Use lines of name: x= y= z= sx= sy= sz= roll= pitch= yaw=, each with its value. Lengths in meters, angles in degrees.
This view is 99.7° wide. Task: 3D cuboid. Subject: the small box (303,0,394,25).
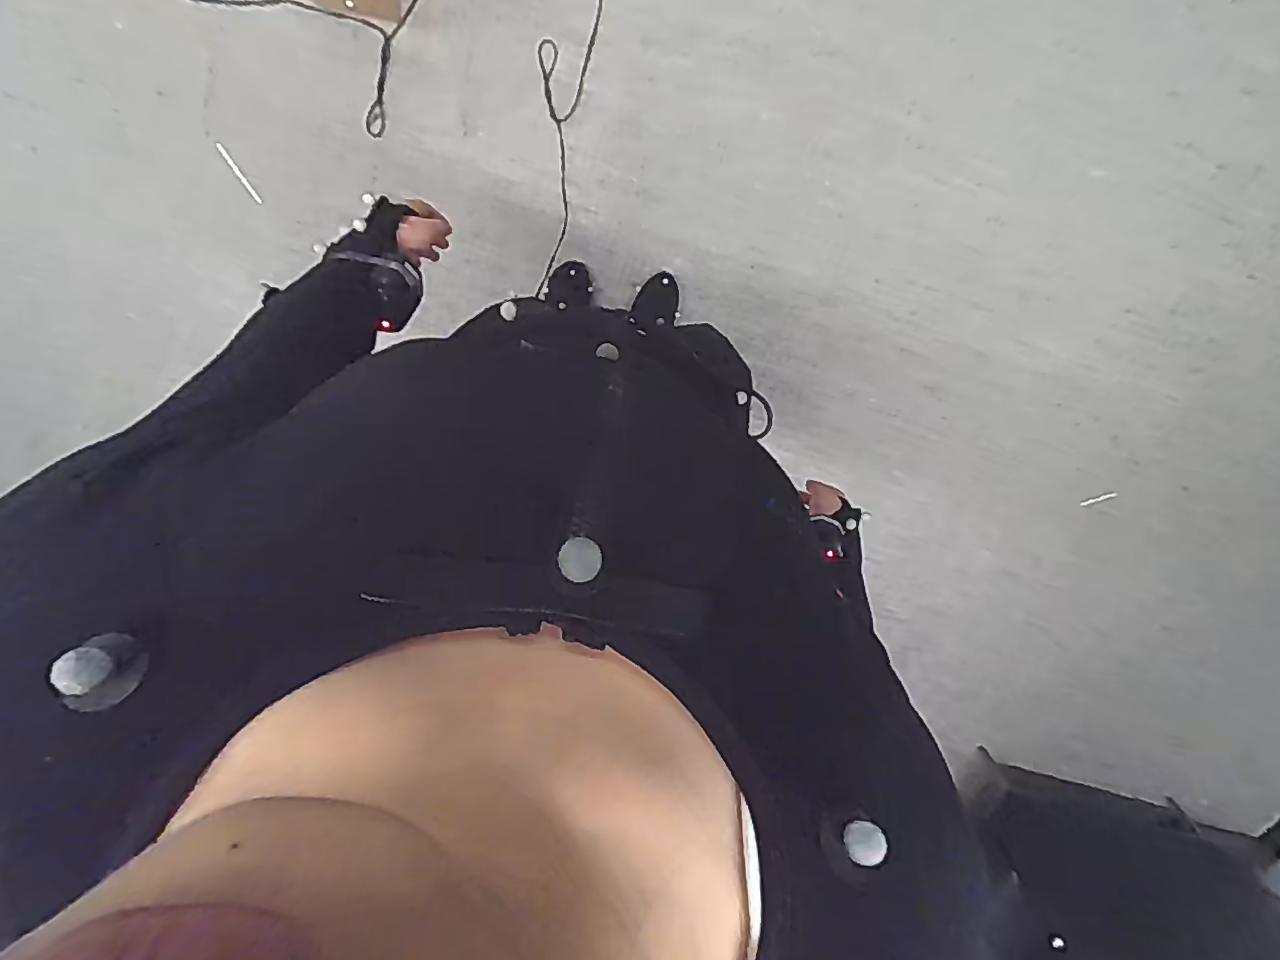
small box: x=-0.587 y=-1.018 z=1.040 sx=0.179 sy=0.176 sz=0.168 roll=10 pitch=112 yaw=-3
